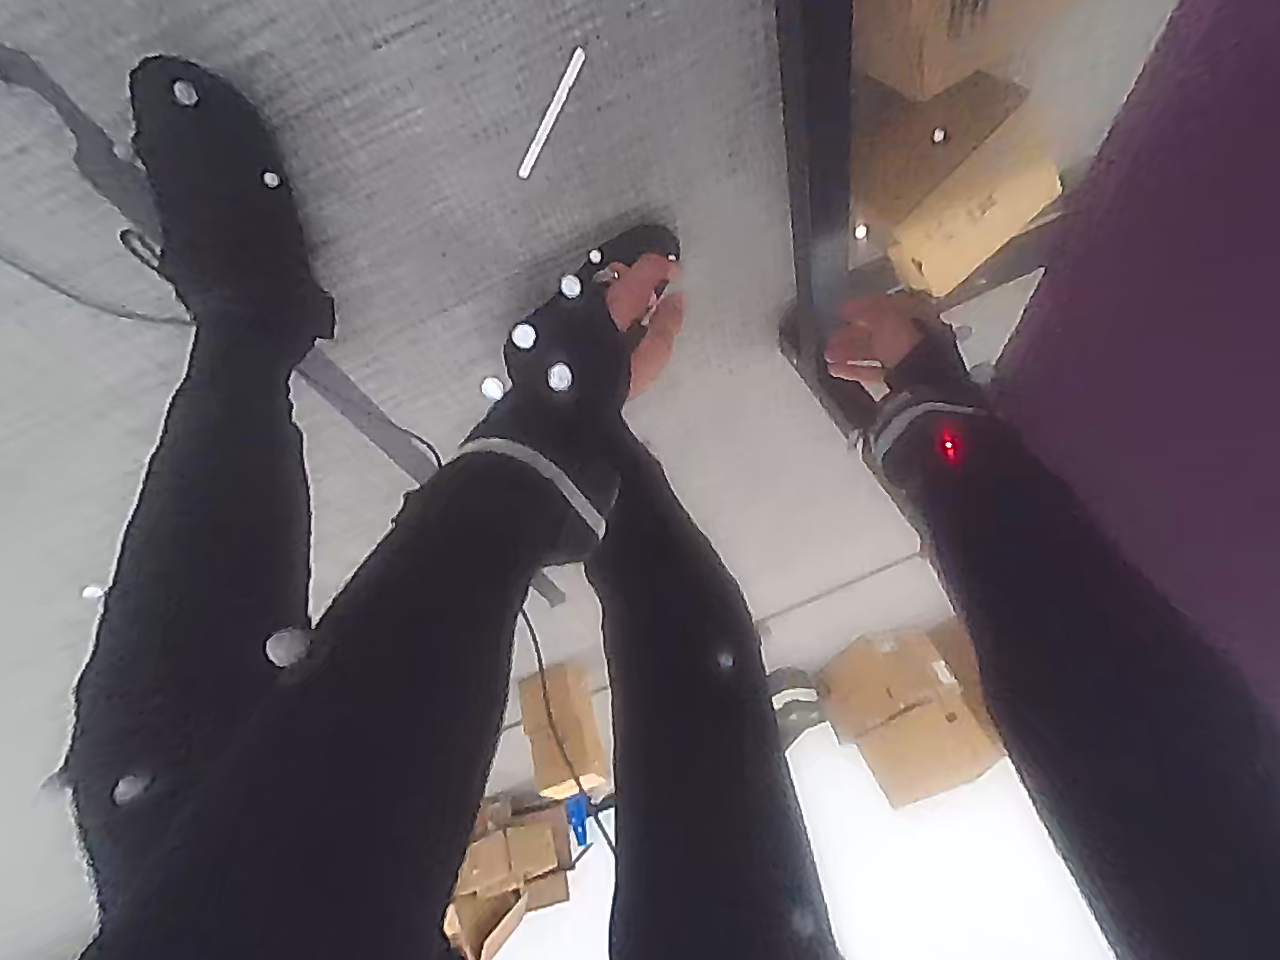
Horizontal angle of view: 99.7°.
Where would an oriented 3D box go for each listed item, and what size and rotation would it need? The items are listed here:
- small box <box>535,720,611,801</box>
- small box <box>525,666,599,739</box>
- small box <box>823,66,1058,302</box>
[{"bbox_3d":[-0.203,0.850,1.643,0.168,0.176,0.179,-22,142,2],"label":"small box"},{"bbox_3d":[-0.255,0.725,1.733,0.179,0.176,0.168,-25,142,5],"label":"small box"},{"bbox_3d":[0.373,-0.374,0.690,0.168,0.176,0.179,22,125,-41],"label":"small box"}]
